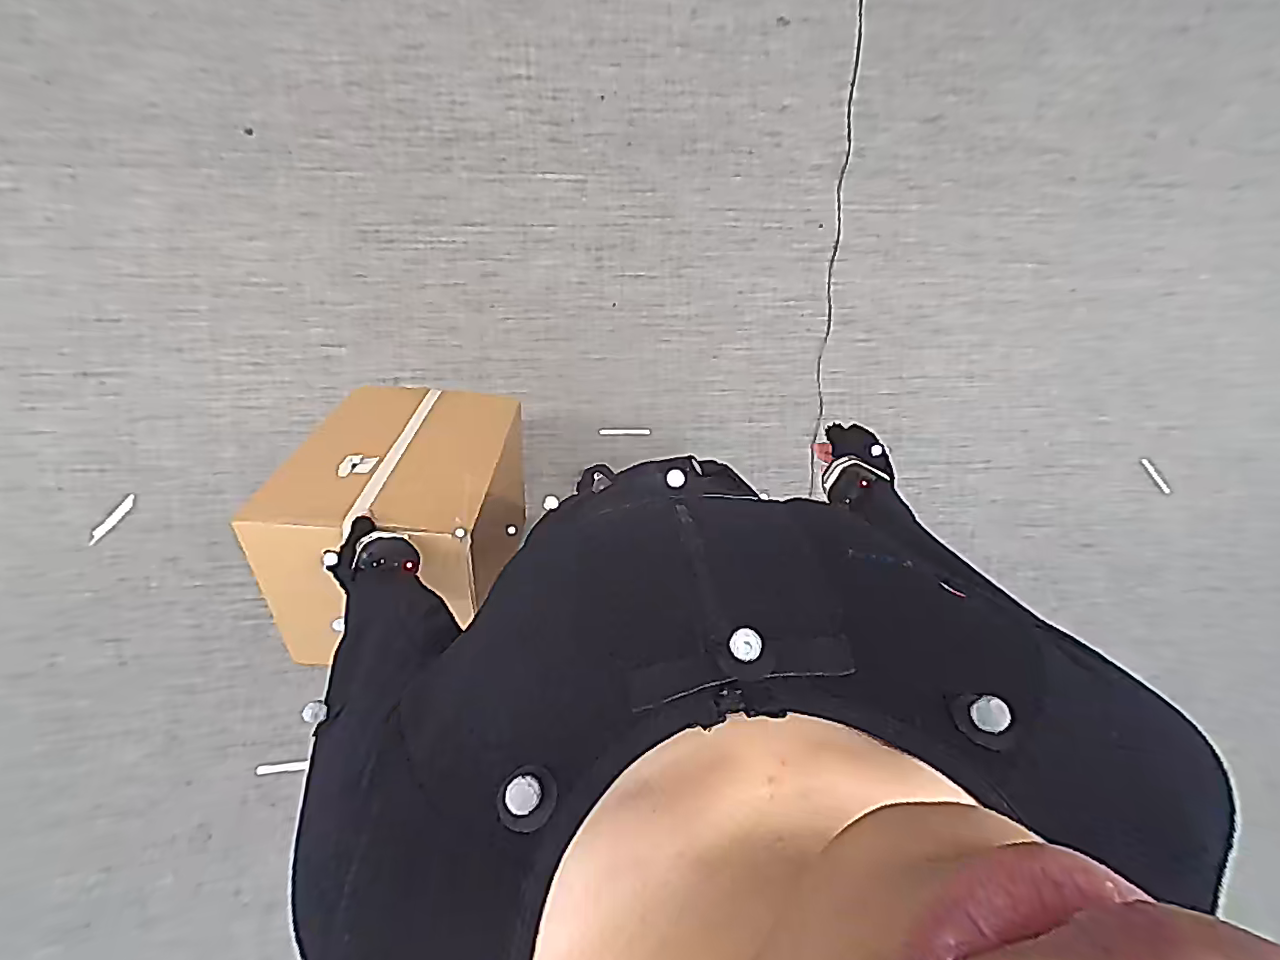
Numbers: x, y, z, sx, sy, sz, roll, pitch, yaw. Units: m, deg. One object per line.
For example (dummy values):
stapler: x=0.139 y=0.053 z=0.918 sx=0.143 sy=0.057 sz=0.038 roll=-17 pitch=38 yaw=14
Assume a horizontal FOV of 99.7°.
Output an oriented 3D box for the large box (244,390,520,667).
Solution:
large box: x=-0.406 y=0.073 z=0.986 sx=0.320 sy=0.408 sz=0.320 roll=3 pitch=126 yaw=-3
